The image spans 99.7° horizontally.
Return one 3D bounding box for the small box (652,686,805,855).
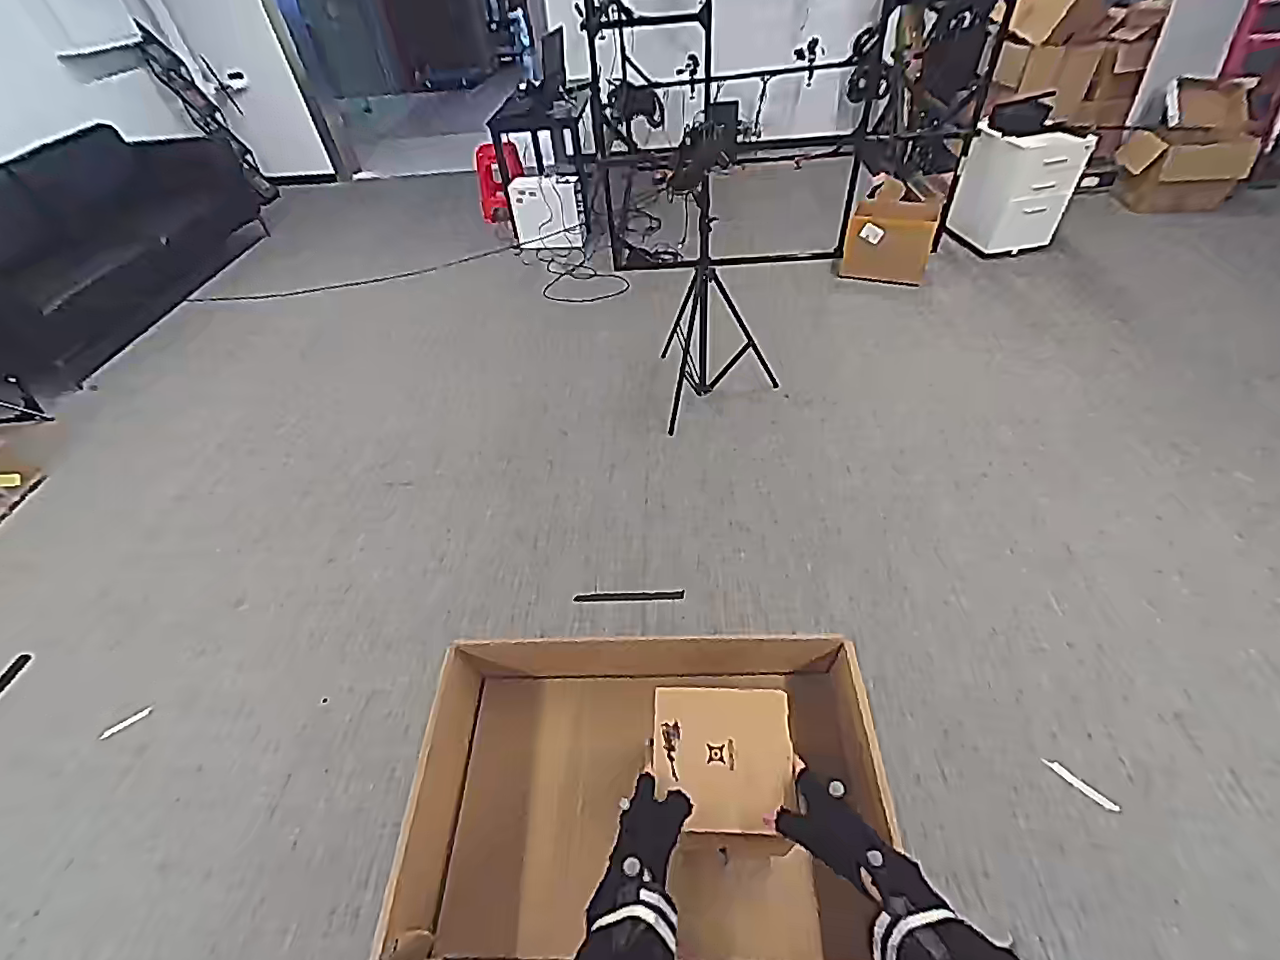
[{"bbox_3d":[0.108,0.391,0.723,0.179,0.176,0.168,0,49,5],"label":"small box"}]
